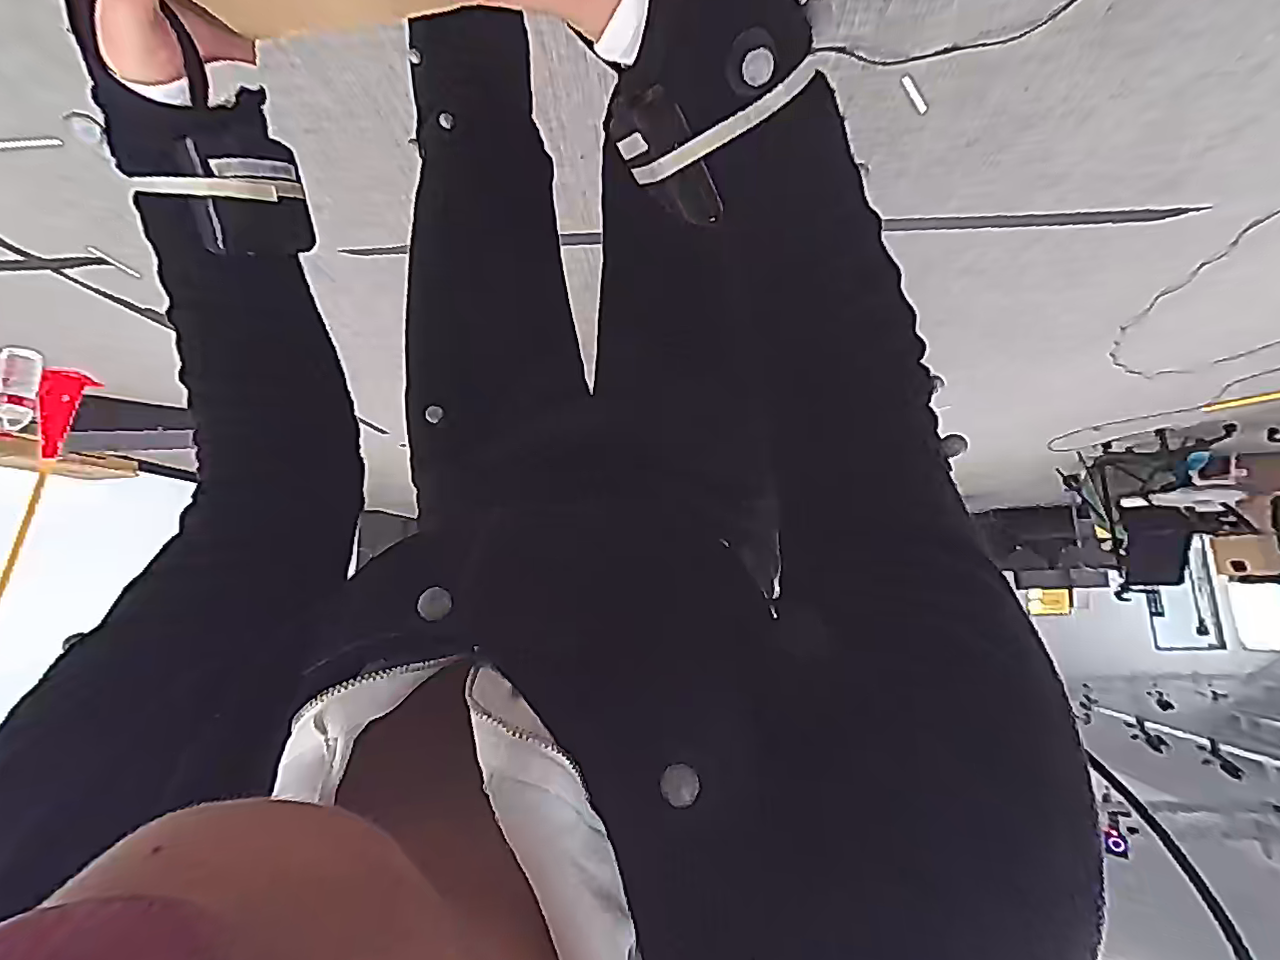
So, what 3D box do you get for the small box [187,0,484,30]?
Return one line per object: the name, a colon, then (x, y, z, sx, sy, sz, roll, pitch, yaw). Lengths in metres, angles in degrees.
small box: (-0.150, -0.286, 0.161, 0.179, 0.176, 0.168, 15, -170, 22)
